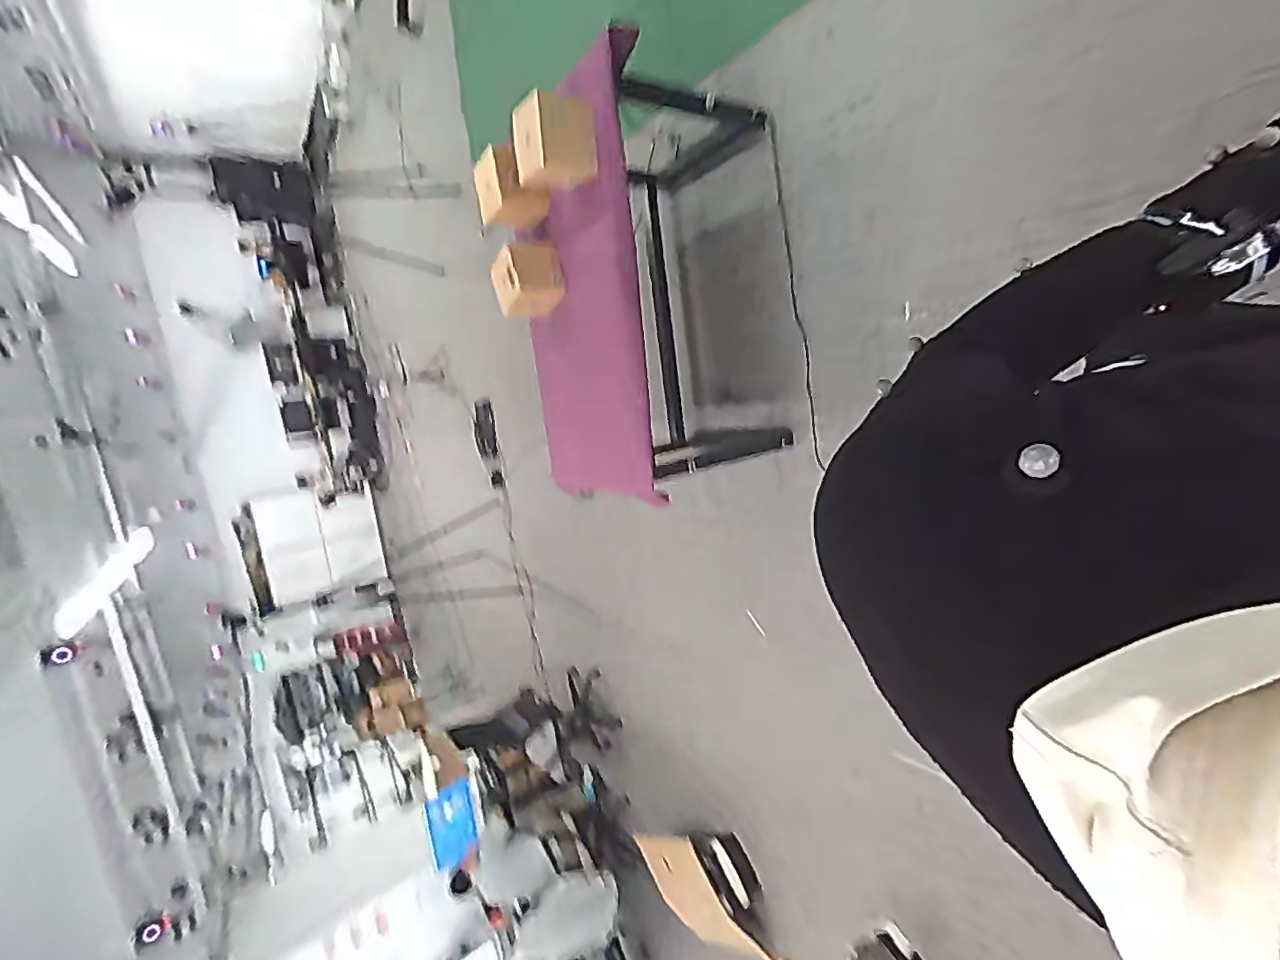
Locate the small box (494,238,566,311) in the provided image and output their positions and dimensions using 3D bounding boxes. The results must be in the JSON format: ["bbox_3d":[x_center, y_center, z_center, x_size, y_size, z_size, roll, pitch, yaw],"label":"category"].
[{"bbox_3d":[-0.359,-0.678,1.789,0.179,0.176,0.168,-25,81,56],"label":"small box"}]

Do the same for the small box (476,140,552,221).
[{"bbox_3d":[-0.405,-0.962,1.752,0.168,0.176,0.179,-1,103,55],"label":"small box"}]

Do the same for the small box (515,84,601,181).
[{"bbox_3d":[-0.224,-0.946,1.490,0.168,0.176,0.179,16,115,54],"label":"small box"}]
